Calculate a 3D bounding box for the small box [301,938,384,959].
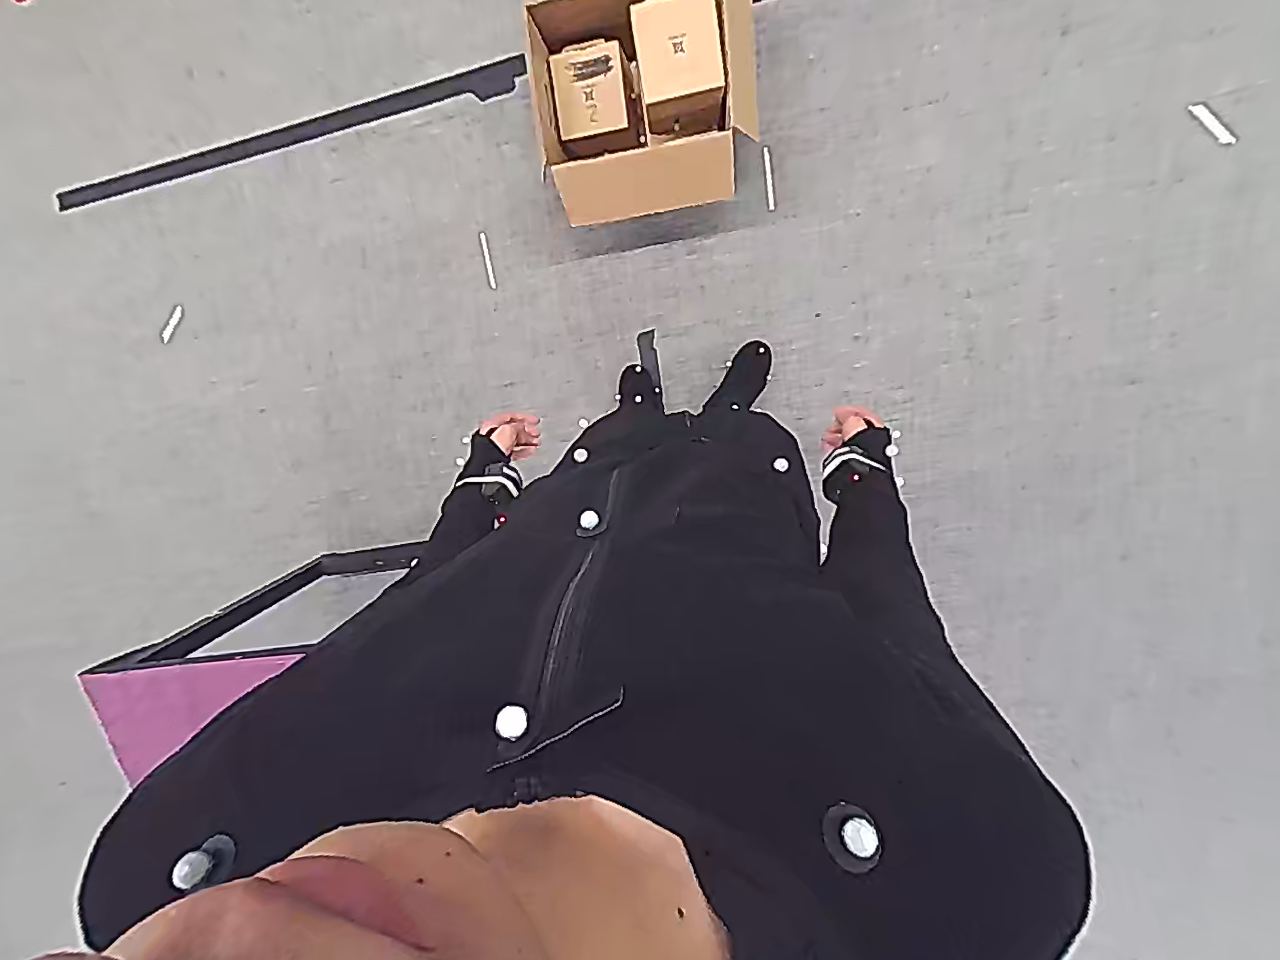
[{"bbox_3d":[-0.691,1.172,1.207,0.179,0.176,0.168,-13,103,10],"label":"small box"}]
